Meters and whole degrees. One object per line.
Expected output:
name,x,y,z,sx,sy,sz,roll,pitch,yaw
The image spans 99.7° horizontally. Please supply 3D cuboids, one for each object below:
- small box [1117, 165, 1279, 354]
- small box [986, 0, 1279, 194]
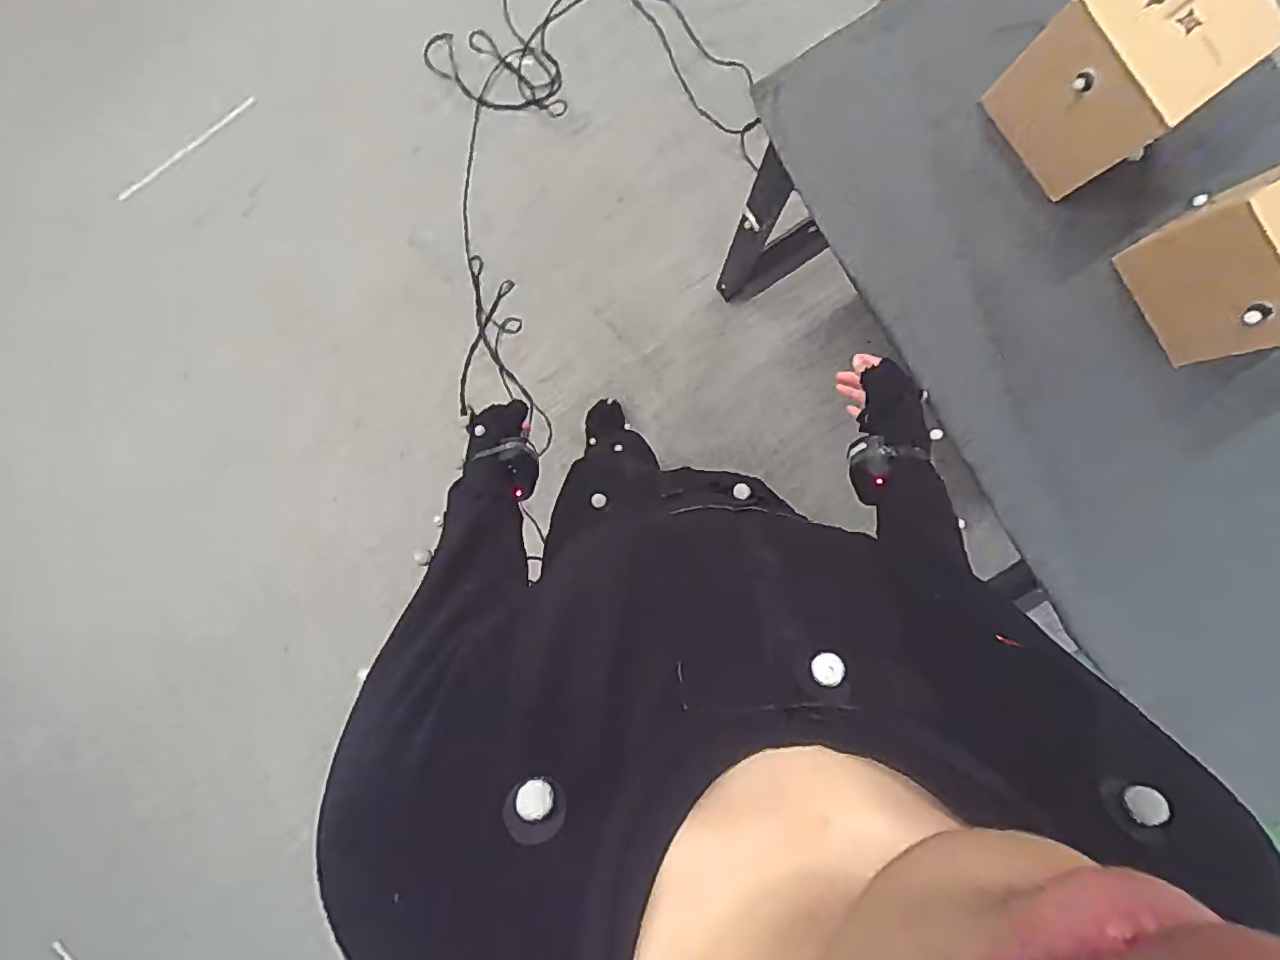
small box,0.752,-0.270,0.652,0.168,0.176,0.179,-31,90,1
small box,0.572,-0.494,0.651,0.168,0.176,0.179,-37,91,1
